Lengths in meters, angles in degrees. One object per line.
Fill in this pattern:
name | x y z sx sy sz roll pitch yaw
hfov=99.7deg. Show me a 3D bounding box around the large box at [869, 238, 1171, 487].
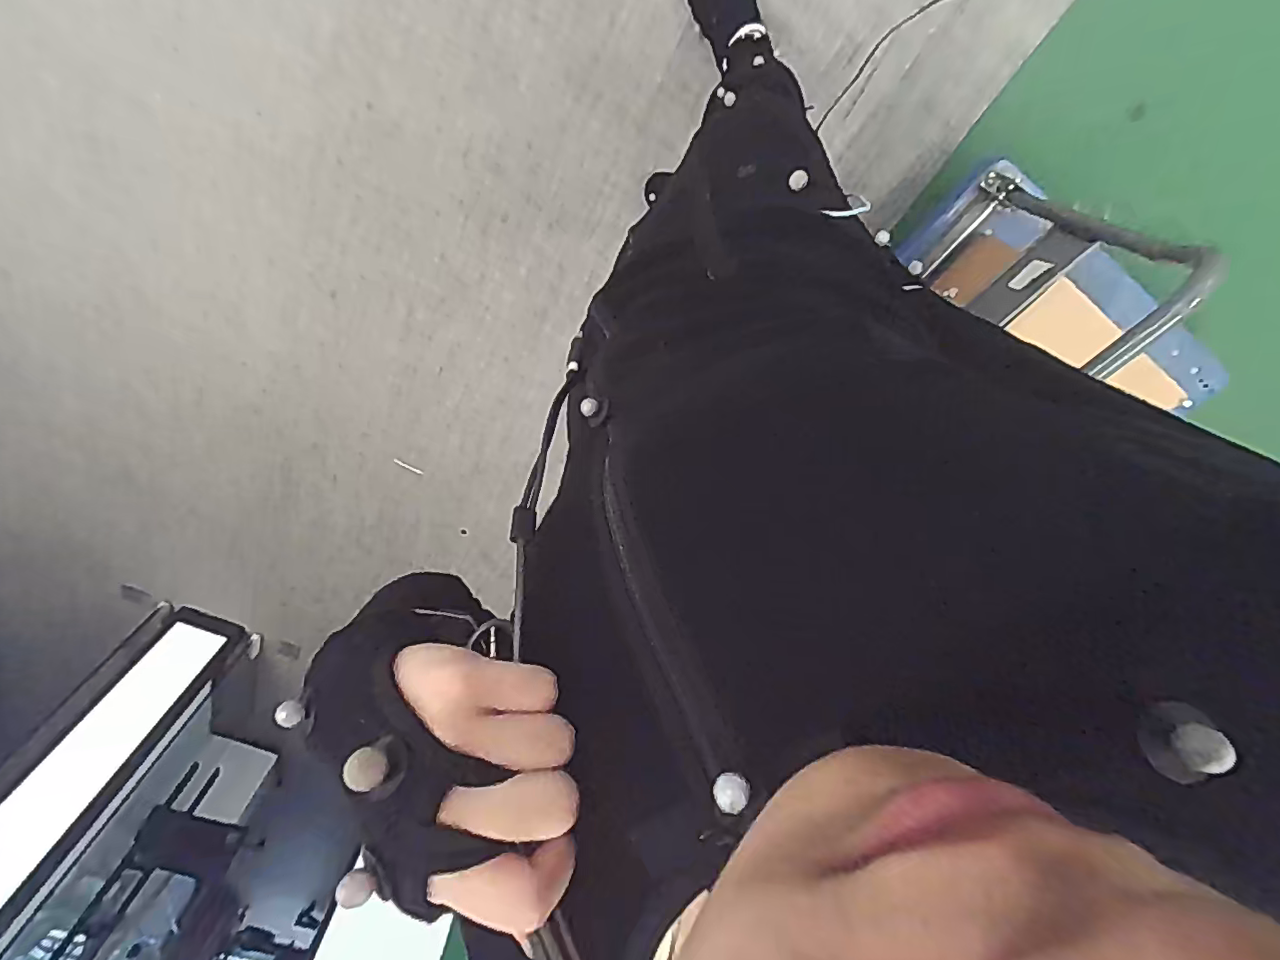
large box | 0.800 -0.261 1.199 0.408 0.320 0.320 30 124 -17
